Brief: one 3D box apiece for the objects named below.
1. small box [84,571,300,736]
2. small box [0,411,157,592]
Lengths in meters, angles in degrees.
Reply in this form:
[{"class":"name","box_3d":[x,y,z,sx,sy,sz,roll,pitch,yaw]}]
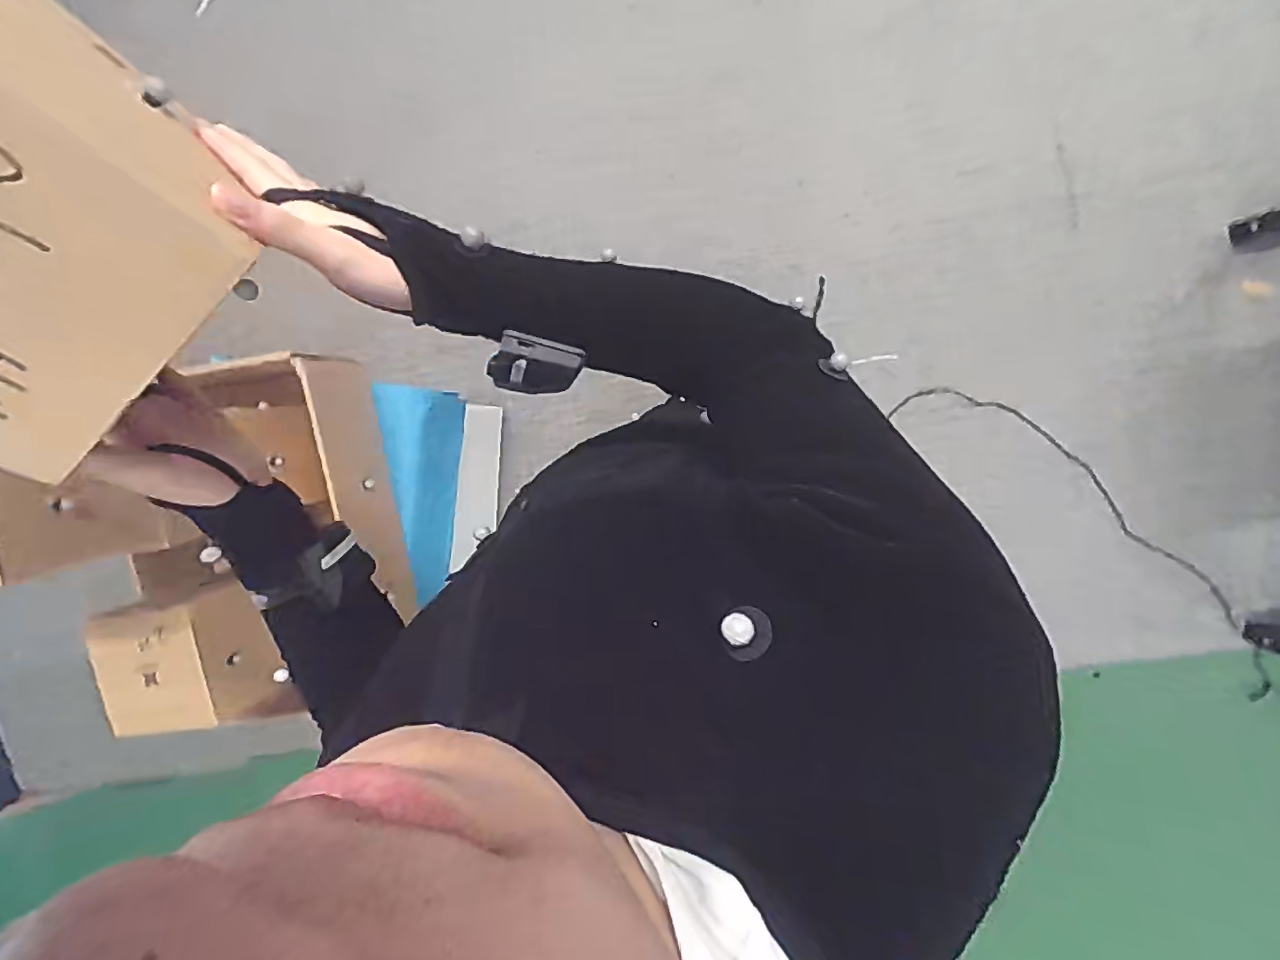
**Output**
[{"class":"small box","box_3d":[-0.651,0.251,0.810,0.168,0.176,0.179,-8,97,7]},{"class":"small box","box_3d":[-0.712,0.020,0.617,0.168,0.176,0.179,-6,99,6]}]
